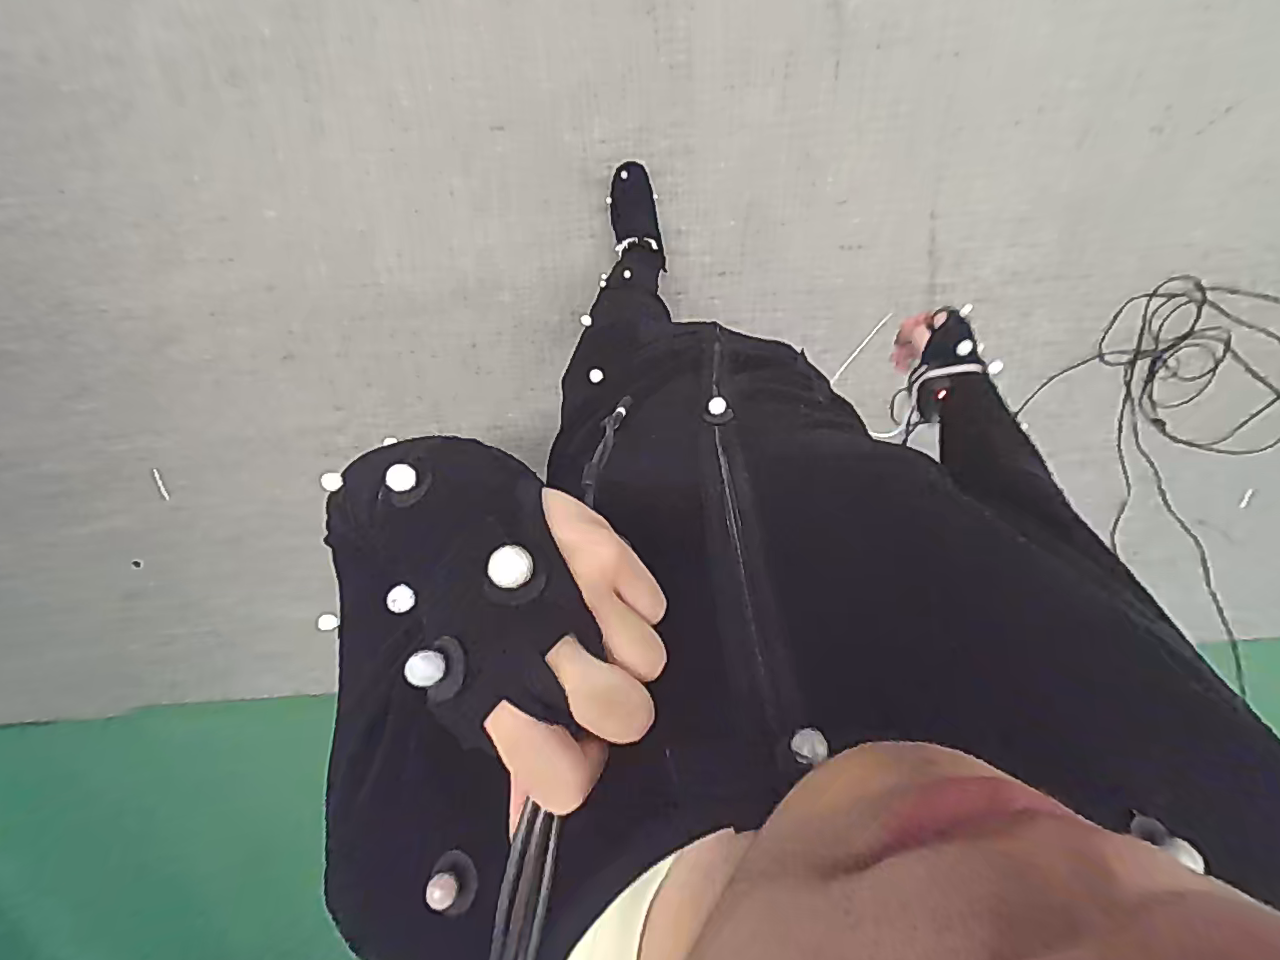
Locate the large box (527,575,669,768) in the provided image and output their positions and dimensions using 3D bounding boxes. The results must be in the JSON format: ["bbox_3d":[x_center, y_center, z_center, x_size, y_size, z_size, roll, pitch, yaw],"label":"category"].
[{"bbox_3d":[-0.111,0.543,1.565,0.320,0.320,0.408,-9,114,2],"label":"large box"}]
